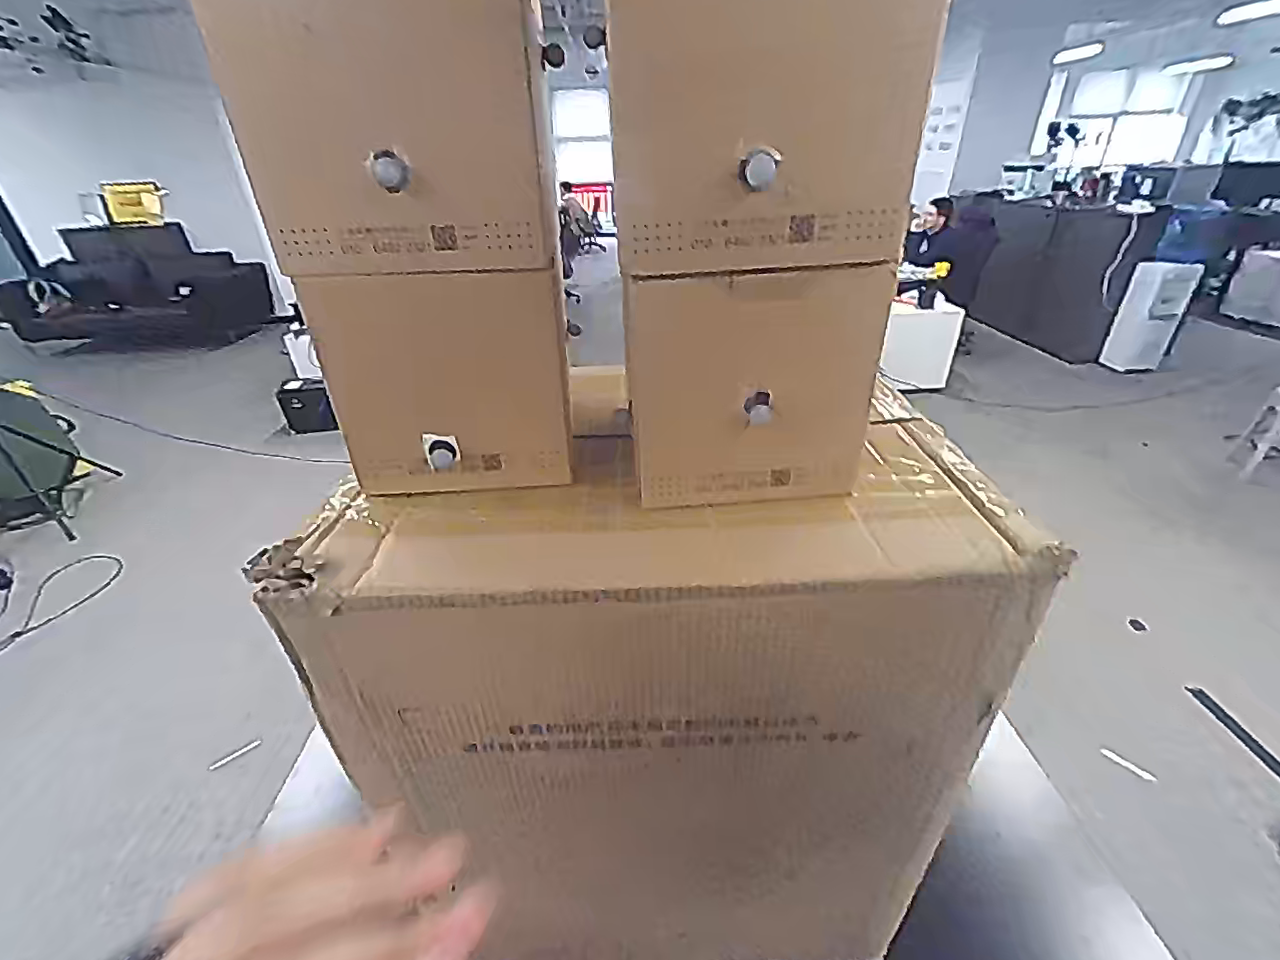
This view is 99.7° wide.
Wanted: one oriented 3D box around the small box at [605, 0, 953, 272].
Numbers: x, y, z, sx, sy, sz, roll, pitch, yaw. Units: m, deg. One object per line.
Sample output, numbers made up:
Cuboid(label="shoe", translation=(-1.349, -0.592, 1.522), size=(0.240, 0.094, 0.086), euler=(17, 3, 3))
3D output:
Cuboid(label="small box", translation=(0.064, -0.234, 0.342), size=(0.168, 0.176, 0.179), euler=(-4, 32, -1))

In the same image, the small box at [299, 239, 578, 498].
Cuboid(label="small box", translation=(-0.142, -0.102, 0.456), size=(0.168, 0.176, 0.179), euler=(-5, 32, -5))

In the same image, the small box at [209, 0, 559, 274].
Cuboid(label="small box", translation=(-0.147, -0.243, 0.370), size=(0.168, 0.176, 0.179), euler=(-3, 31, -3))
